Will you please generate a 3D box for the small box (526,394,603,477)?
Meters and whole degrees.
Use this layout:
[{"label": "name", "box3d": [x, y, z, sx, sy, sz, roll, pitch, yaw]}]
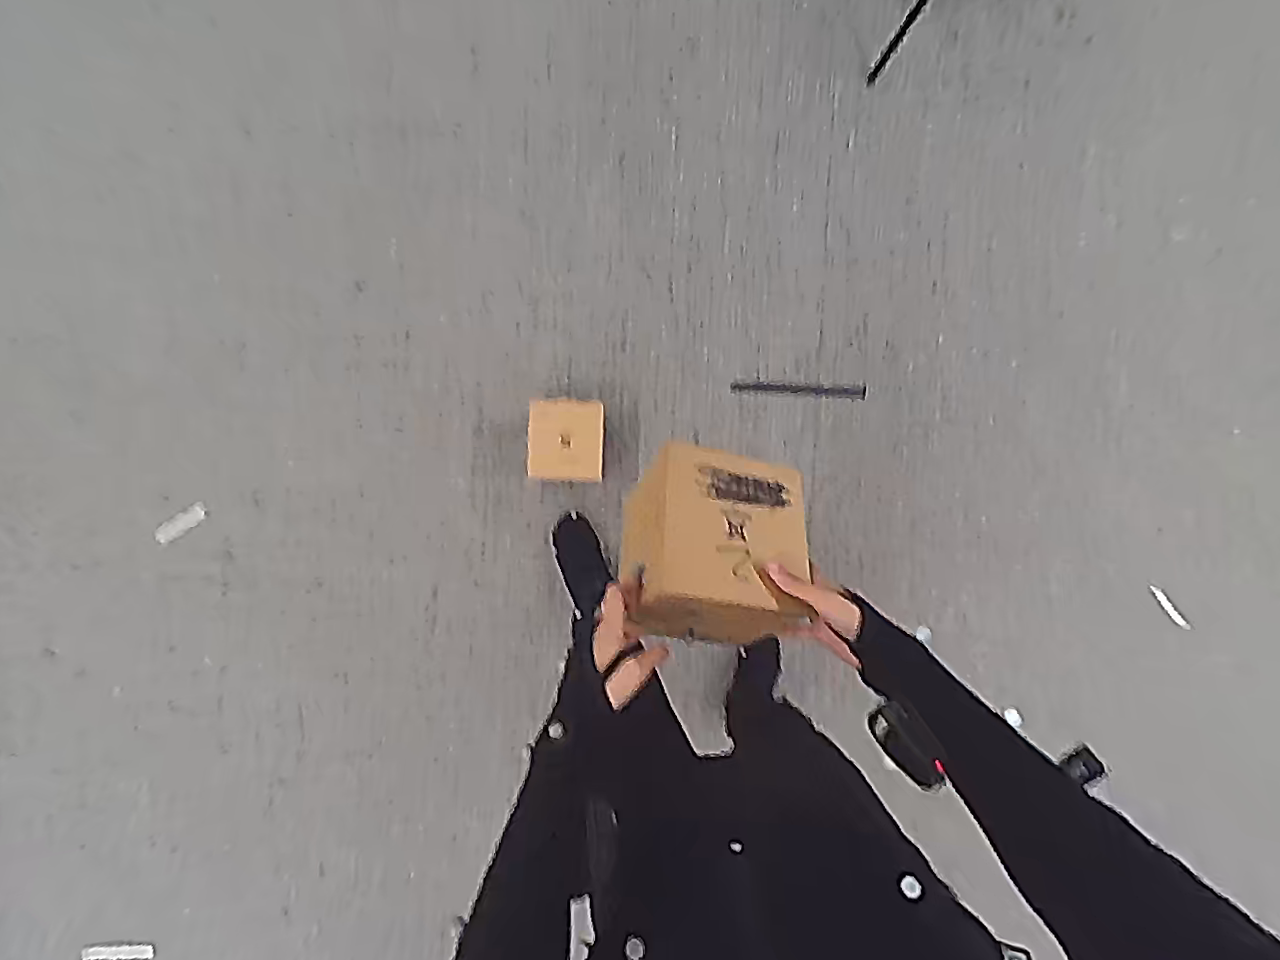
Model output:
[{"label": "small box", "box3d": [-0.175, -0.099, 1.272, 0.168, 0.176, 0.179, 2, 91, -5]}]
